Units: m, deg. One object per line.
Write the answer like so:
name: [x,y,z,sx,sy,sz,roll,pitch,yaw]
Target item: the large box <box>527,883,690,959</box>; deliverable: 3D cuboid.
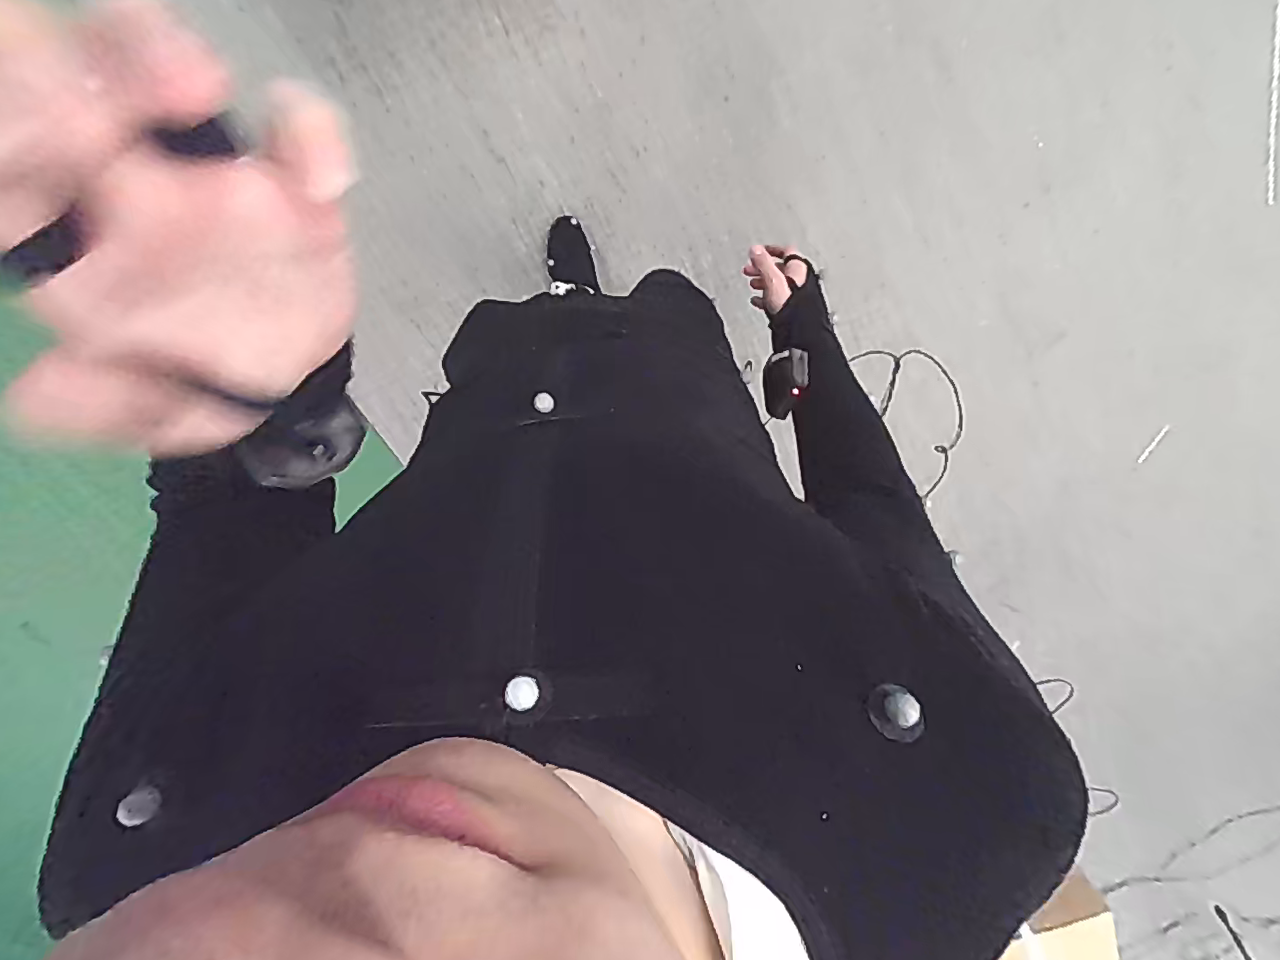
large box: [-0.067,1.330,1.372,0.320,0.320,0.408,-24,114,6]
